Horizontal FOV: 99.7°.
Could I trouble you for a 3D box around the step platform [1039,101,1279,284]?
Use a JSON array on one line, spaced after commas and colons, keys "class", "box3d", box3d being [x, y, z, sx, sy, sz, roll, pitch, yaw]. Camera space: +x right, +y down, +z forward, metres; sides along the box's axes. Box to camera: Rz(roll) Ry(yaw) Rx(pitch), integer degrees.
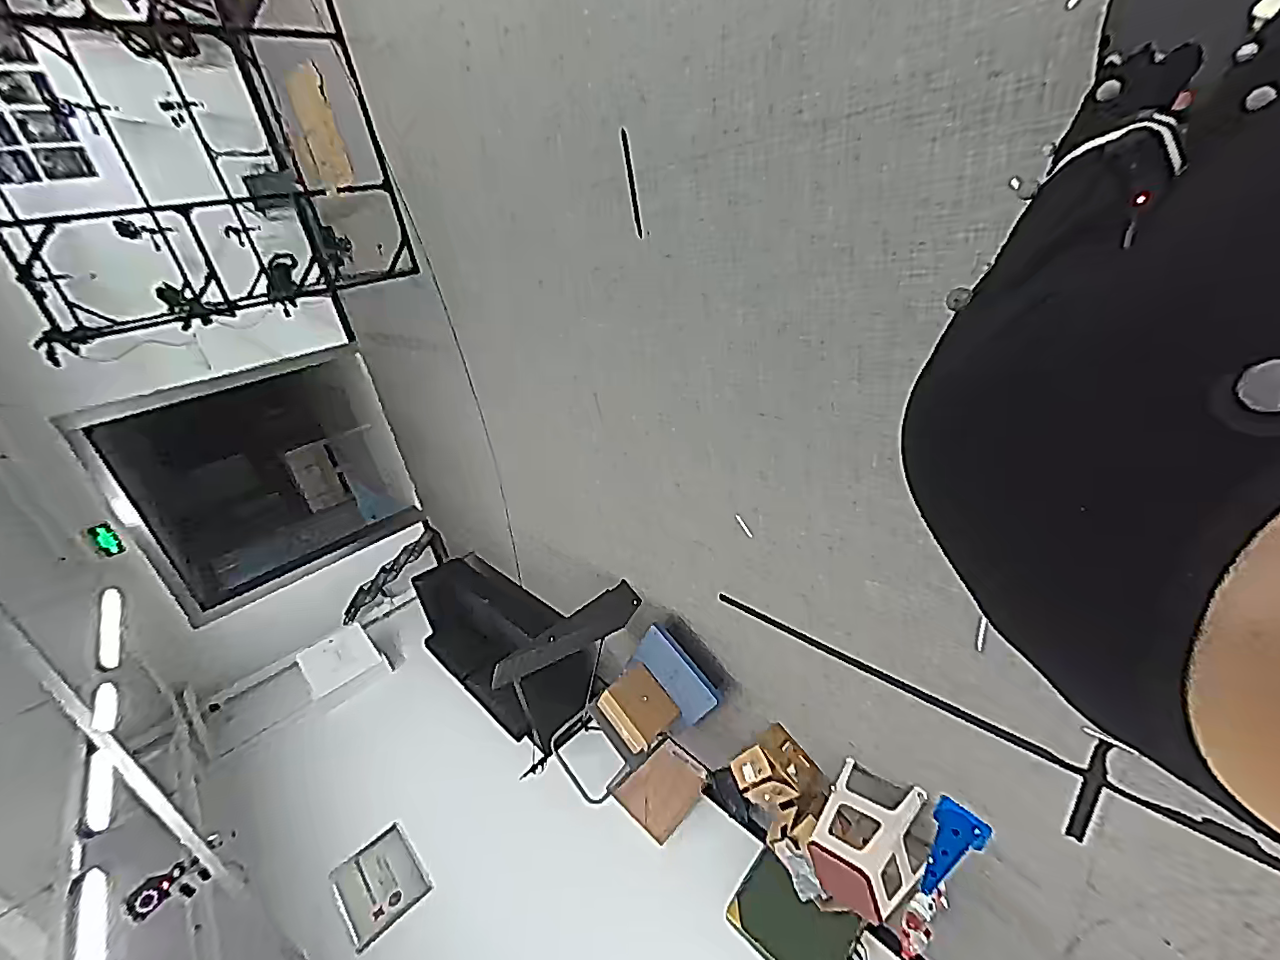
[{"class": "step platform", "box3d": [1.142, -0.522, 0.969, 0.684, 0.204, 0.286, 18, 128, 47]}]
